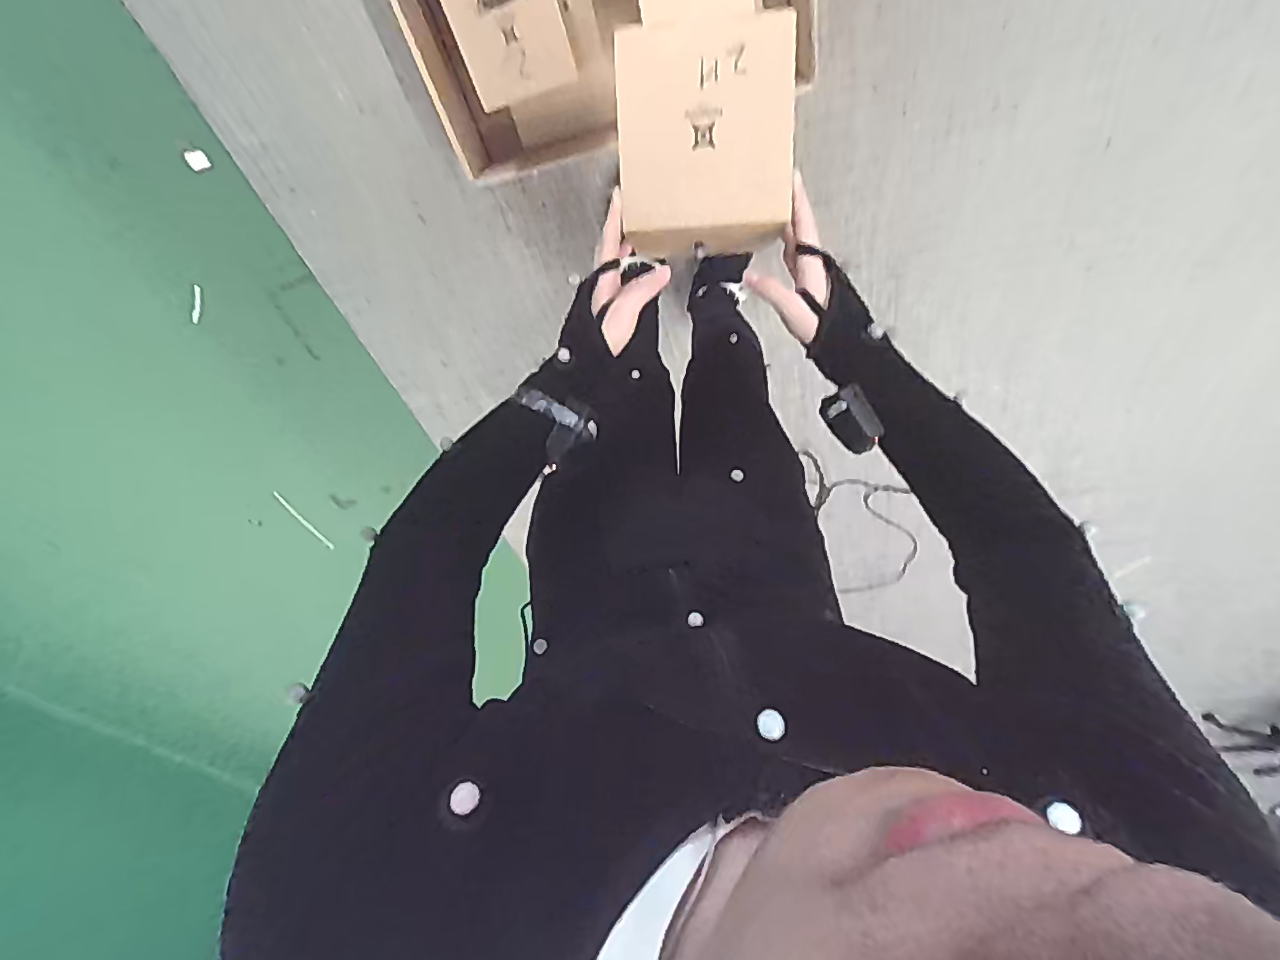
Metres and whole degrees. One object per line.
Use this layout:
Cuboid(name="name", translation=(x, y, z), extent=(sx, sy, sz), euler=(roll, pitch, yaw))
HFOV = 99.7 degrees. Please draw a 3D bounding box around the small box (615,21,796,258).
Cuboid(name="small box", translation=(0.068, -0.342, 0.584), extent=(0.168, 0.176, 0.179), euler=(0, 104, 6))
